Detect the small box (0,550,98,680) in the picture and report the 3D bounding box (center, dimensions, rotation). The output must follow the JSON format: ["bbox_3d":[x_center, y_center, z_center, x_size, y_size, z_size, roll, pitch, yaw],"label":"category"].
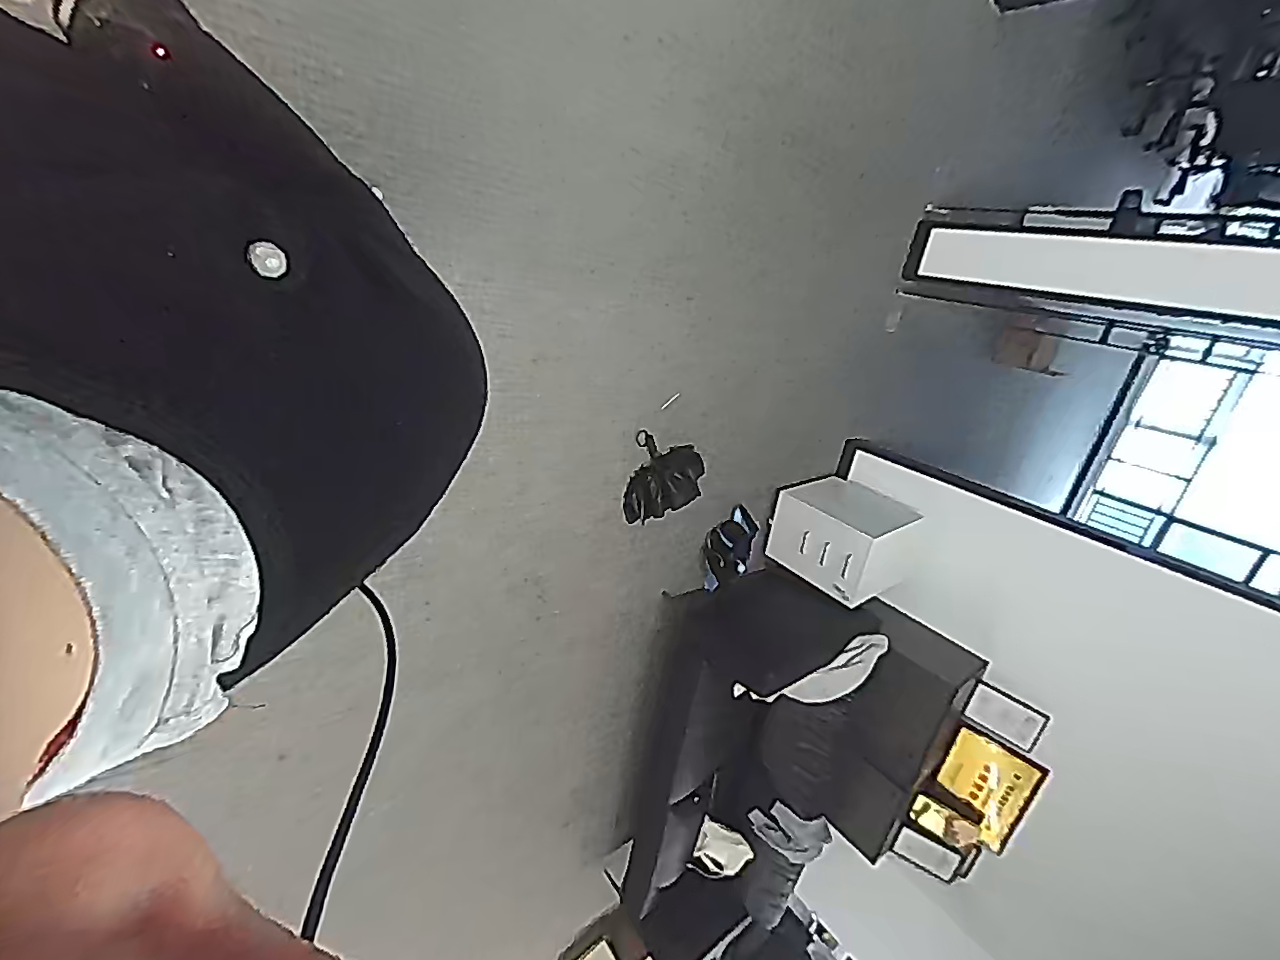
[{"bbox_3d":[-1.295,0.276,1.132,0.179,0.176,0.168,-49,135,-9],"label":"small box"}]
